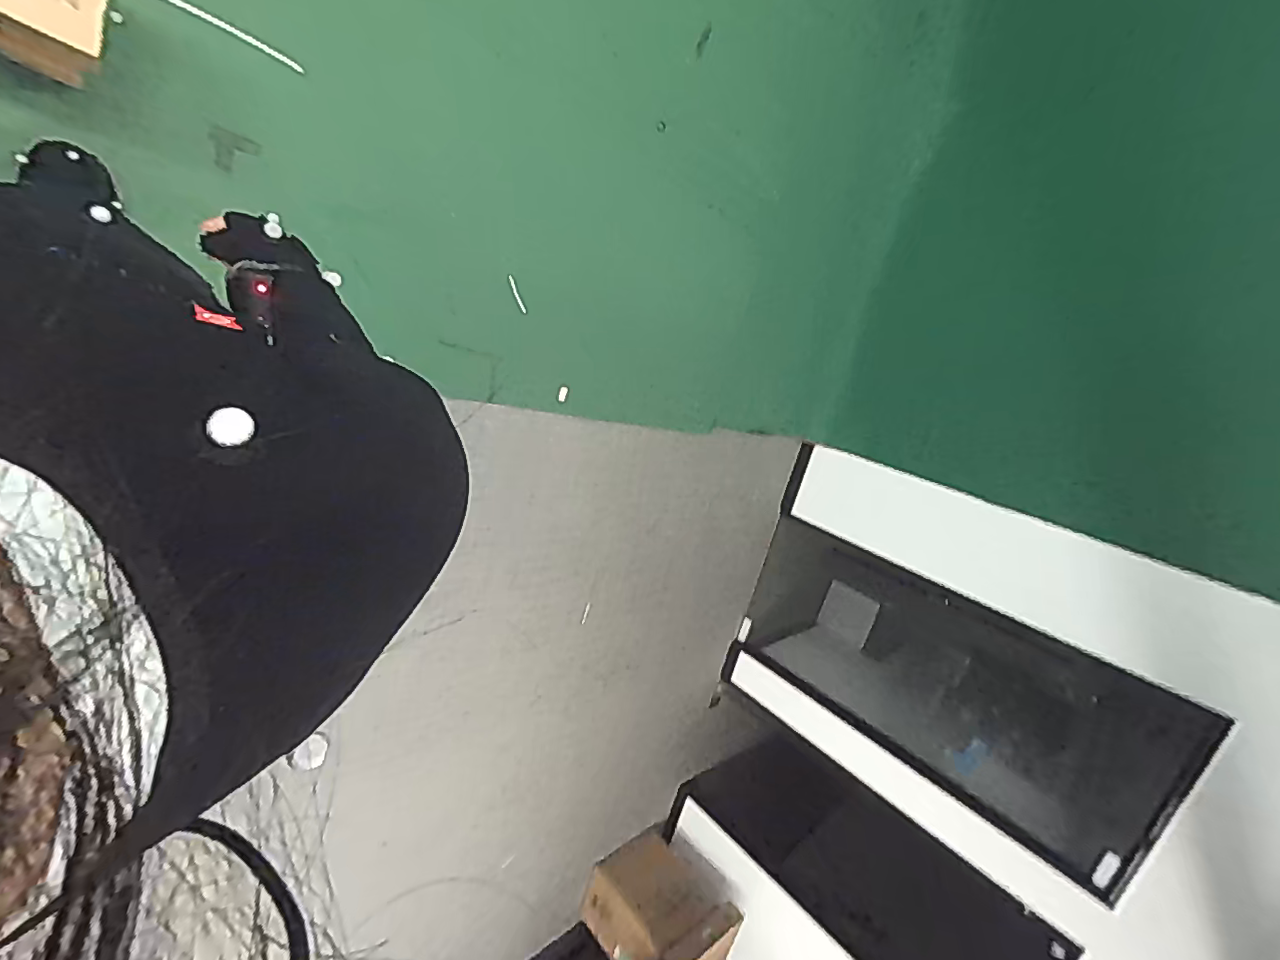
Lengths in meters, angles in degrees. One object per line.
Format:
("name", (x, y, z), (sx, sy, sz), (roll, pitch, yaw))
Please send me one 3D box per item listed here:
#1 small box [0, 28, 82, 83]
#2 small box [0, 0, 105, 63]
("small box", (-0.939, -0.733, 0.803), (0.168, 0.176, 0.179), (9, 104, -48))
("small box", (-0.819, -0.684, 0.701), (0.179, 0.176, 0.168), (7, 105, -49))
